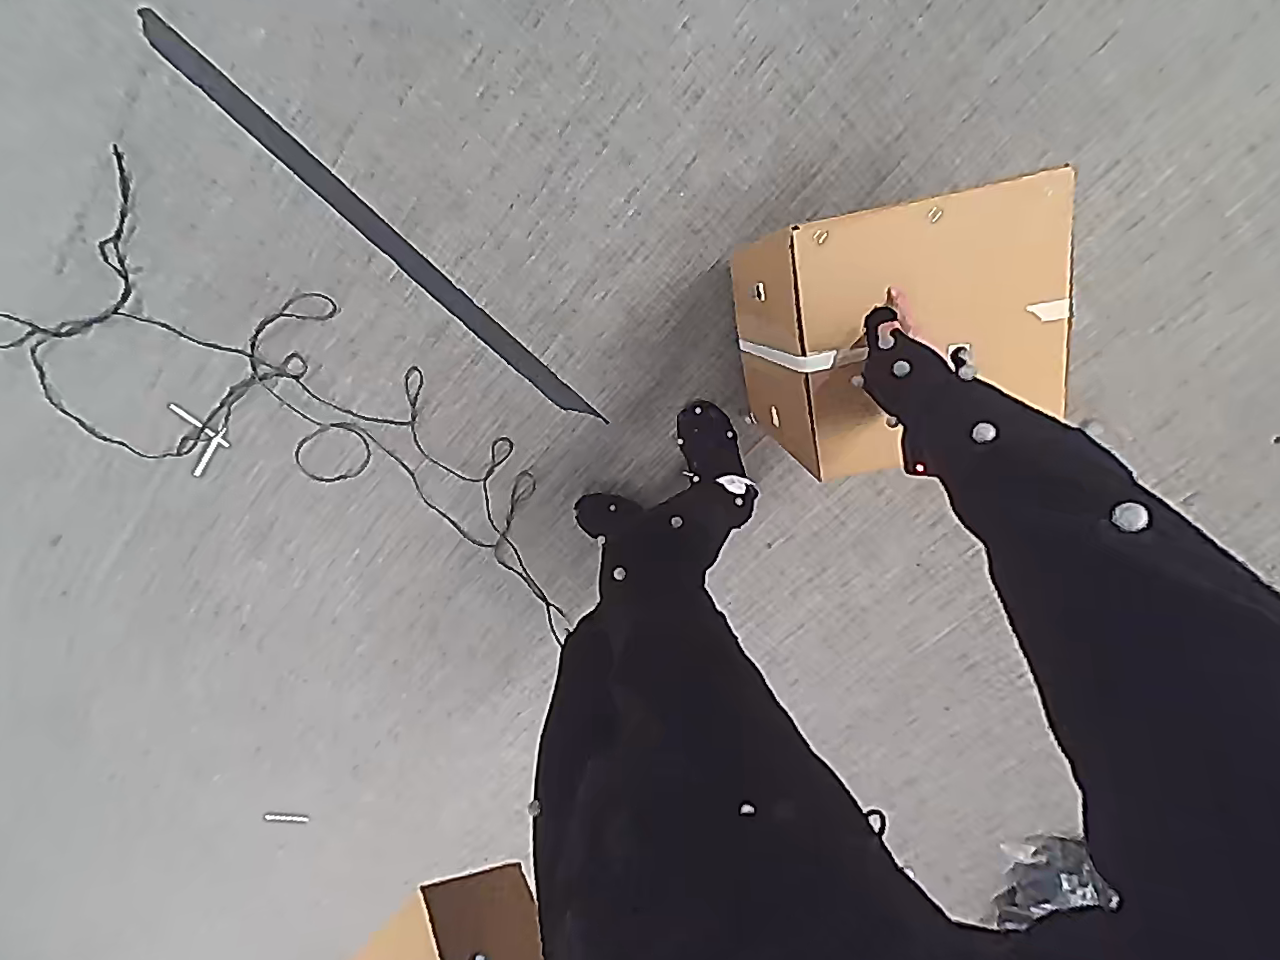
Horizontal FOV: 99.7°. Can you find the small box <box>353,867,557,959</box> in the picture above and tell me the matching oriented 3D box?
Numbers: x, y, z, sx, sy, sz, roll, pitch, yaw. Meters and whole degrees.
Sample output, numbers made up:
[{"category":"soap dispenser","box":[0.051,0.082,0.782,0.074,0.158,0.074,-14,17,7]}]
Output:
[{"category":"small box","box":[-0.214,0.602,0.634,0.168,0.179,0.176,-46,142,5]}]
